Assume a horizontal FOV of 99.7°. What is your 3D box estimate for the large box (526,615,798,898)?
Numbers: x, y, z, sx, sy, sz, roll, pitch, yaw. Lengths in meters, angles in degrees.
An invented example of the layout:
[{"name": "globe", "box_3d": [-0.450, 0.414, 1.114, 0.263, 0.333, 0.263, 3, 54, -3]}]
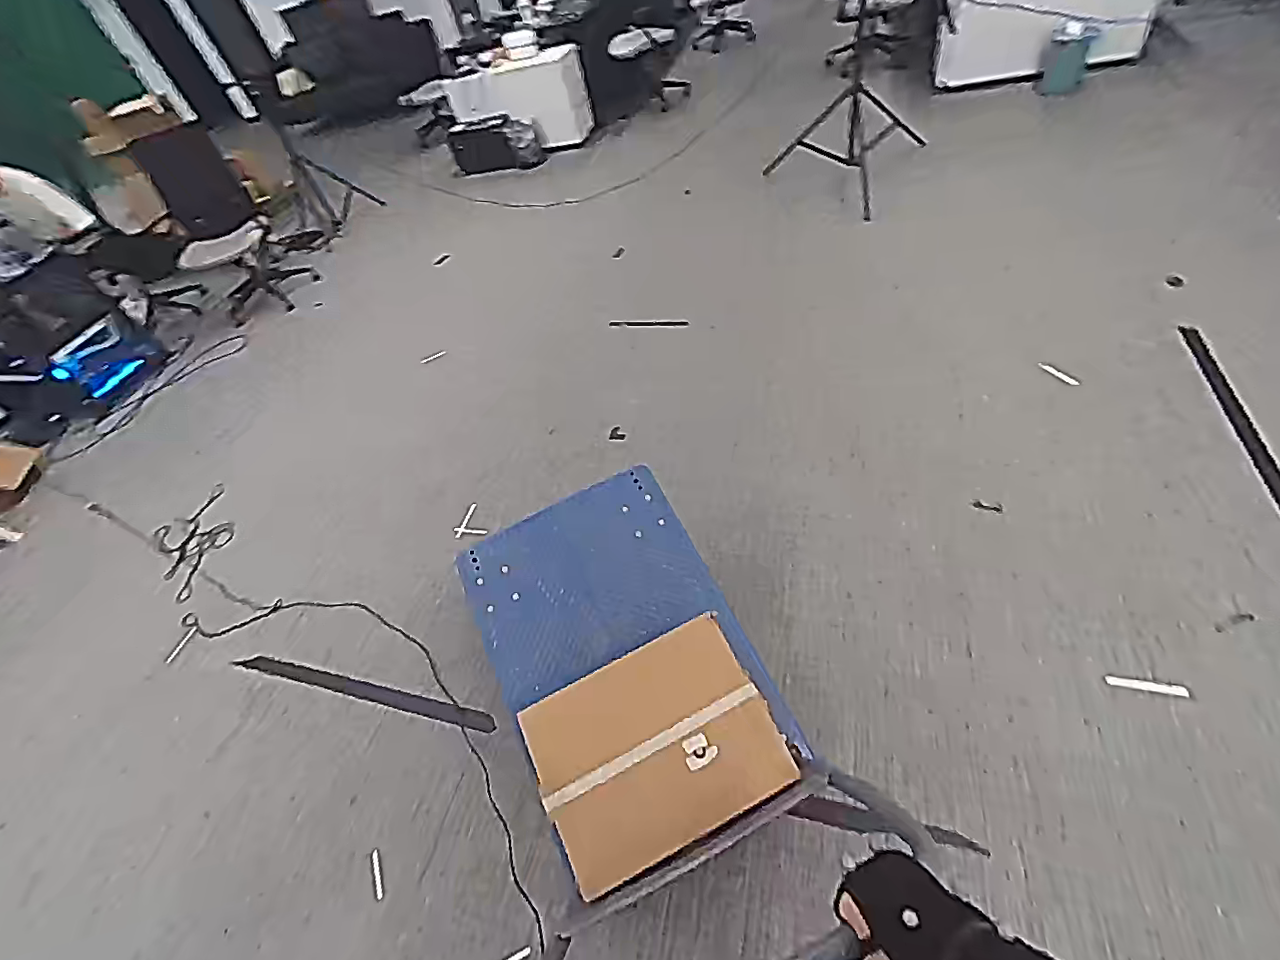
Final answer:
[{"name": "large box", "box_3d": [0.040, 0.533, 1.090, 0.408, 0.320, 0.320, -26, 66, -8]}]
